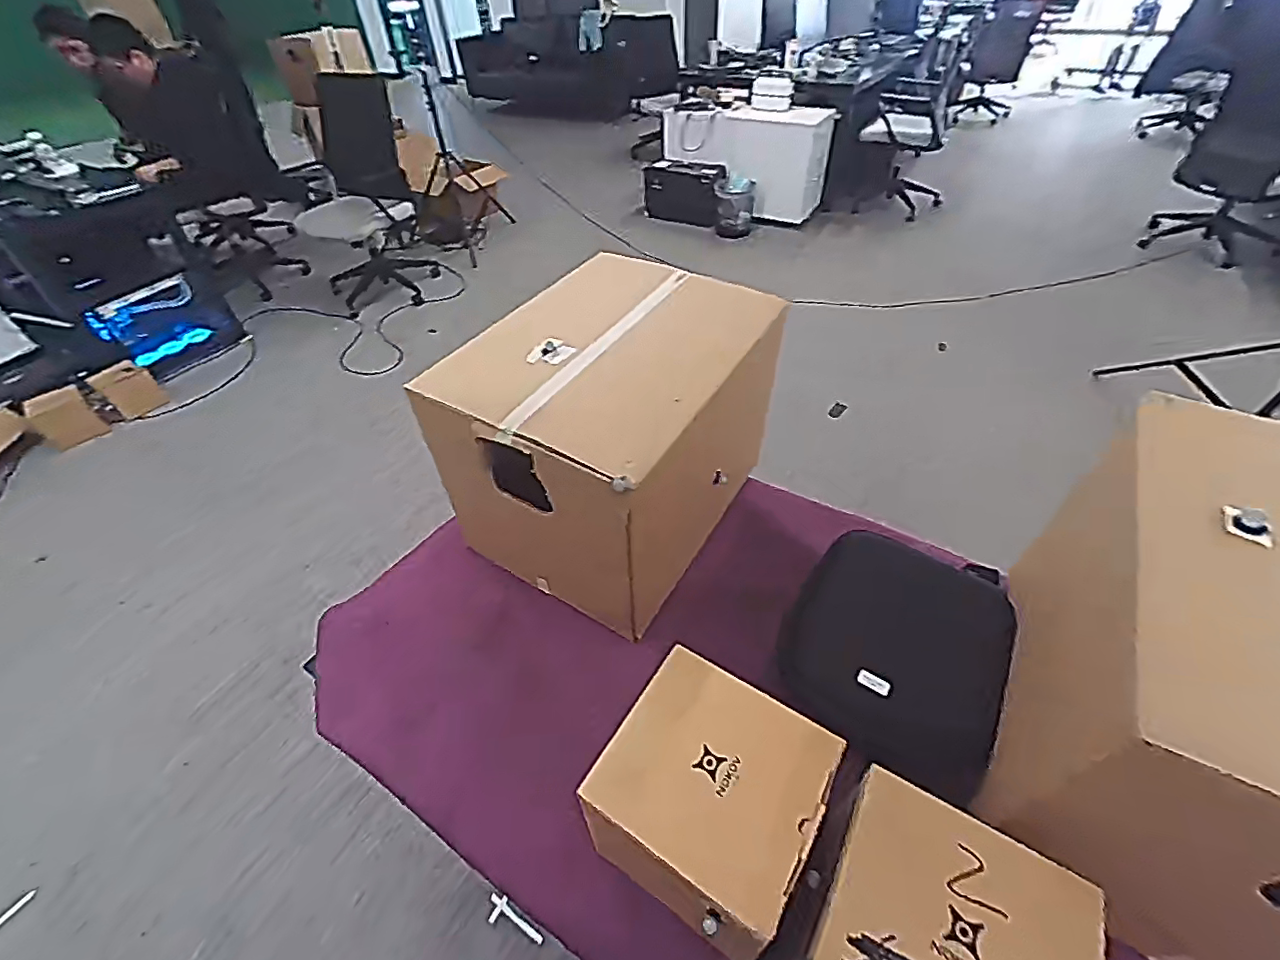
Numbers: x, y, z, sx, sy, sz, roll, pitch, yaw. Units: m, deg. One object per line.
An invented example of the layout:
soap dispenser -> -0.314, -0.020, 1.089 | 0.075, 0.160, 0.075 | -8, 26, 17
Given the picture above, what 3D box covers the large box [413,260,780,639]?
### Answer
large box -> -0.032, -0.061, 0.789 | 0.320, 0.320, 0.408 | 22, 52, 22
